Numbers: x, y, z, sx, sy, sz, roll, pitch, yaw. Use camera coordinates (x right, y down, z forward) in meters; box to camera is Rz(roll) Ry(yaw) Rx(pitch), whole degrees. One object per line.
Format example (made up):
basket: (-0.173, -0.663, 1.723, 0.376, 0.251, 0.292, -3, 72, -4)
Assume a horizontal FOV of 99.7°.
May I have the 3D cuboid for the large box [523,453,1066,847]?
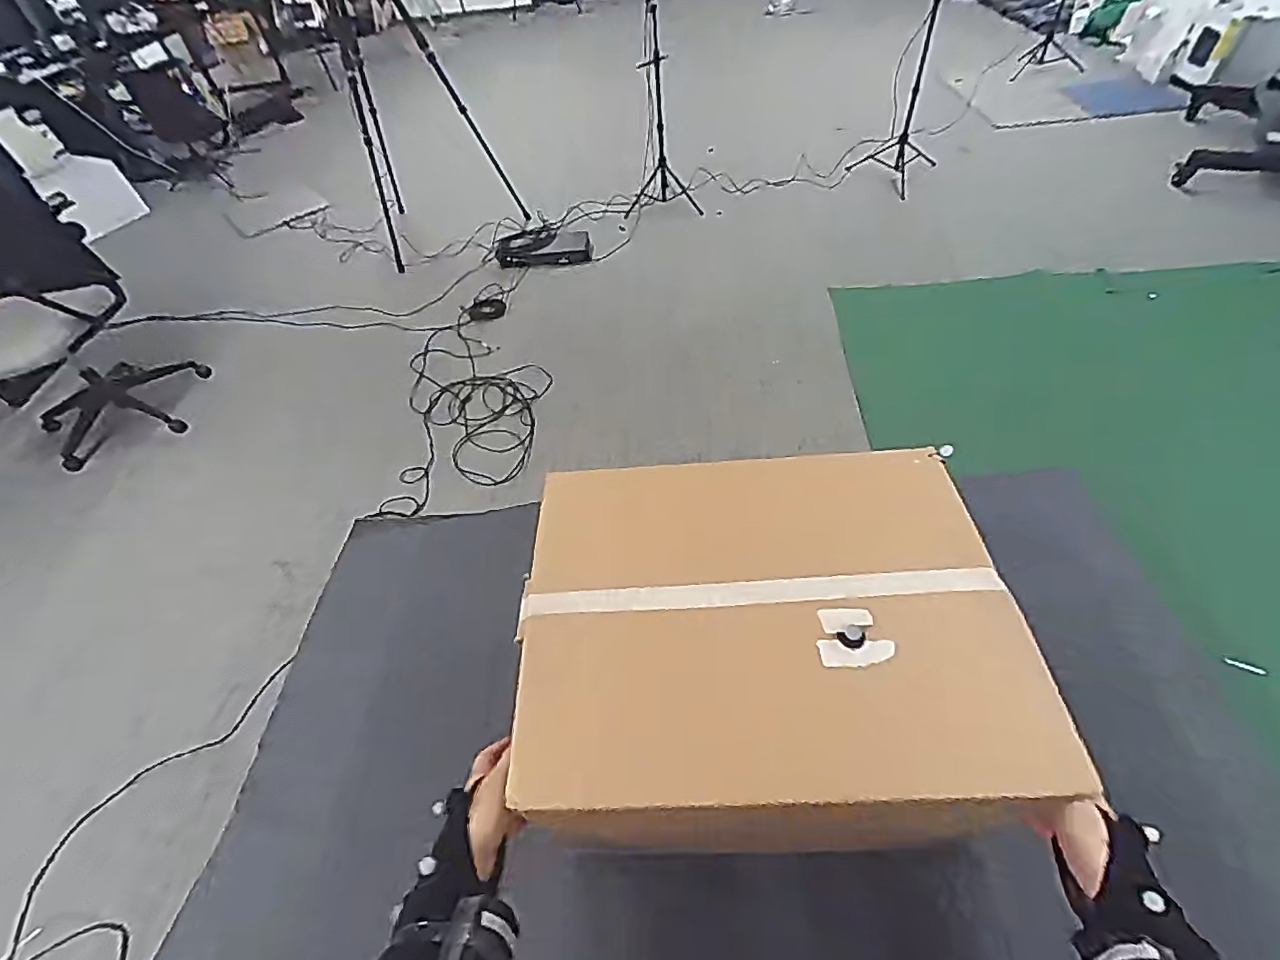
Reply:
large box: (0.115, 0.198, 0.600, 0.408, 0.320, 0.320, -4, 51, 3)
